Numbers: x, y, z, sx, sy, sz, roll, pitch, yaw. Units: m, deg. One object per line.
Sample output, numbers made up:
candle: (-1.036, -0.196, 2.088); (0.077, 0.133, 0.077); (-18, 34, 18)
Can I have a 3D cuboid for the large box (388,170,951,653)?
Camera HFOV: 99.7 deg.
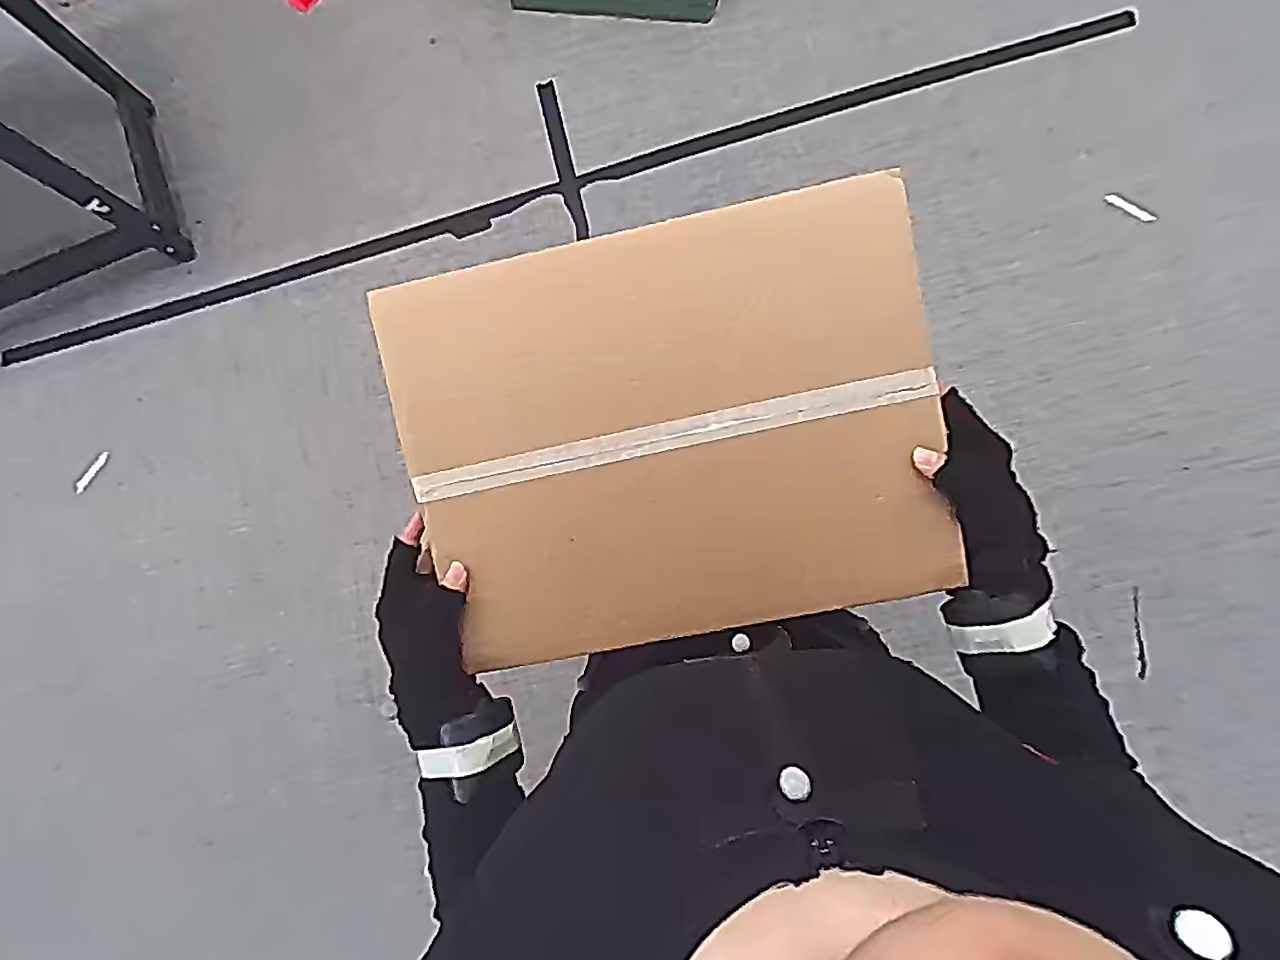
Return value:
large box: (0.029, -0.055, 0.575); (0.408, 0.320, 0.320); (-11, 96, 4)
